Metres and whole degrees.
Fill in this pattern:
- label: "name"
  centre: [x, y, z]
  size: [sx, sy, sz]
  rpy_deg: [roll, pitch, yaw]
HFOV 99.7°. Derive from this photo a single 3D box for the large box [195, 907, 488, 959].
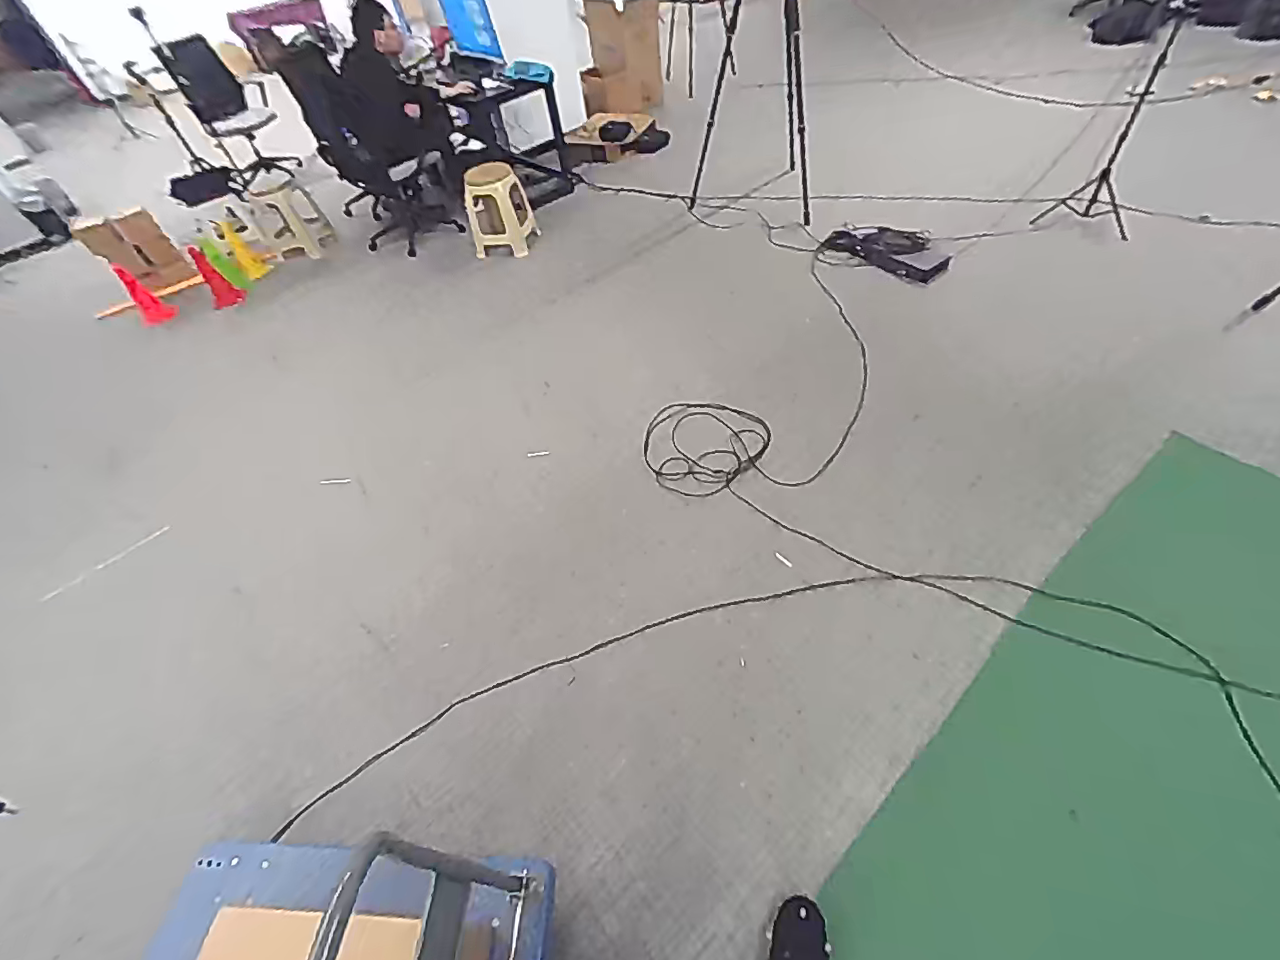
- label: "large box"
  centre: [-0.532, 0.953, 0.941]
  size: [0.408, 0.320, 0.320]
  rpy_deg: [-3, 49, 8]
